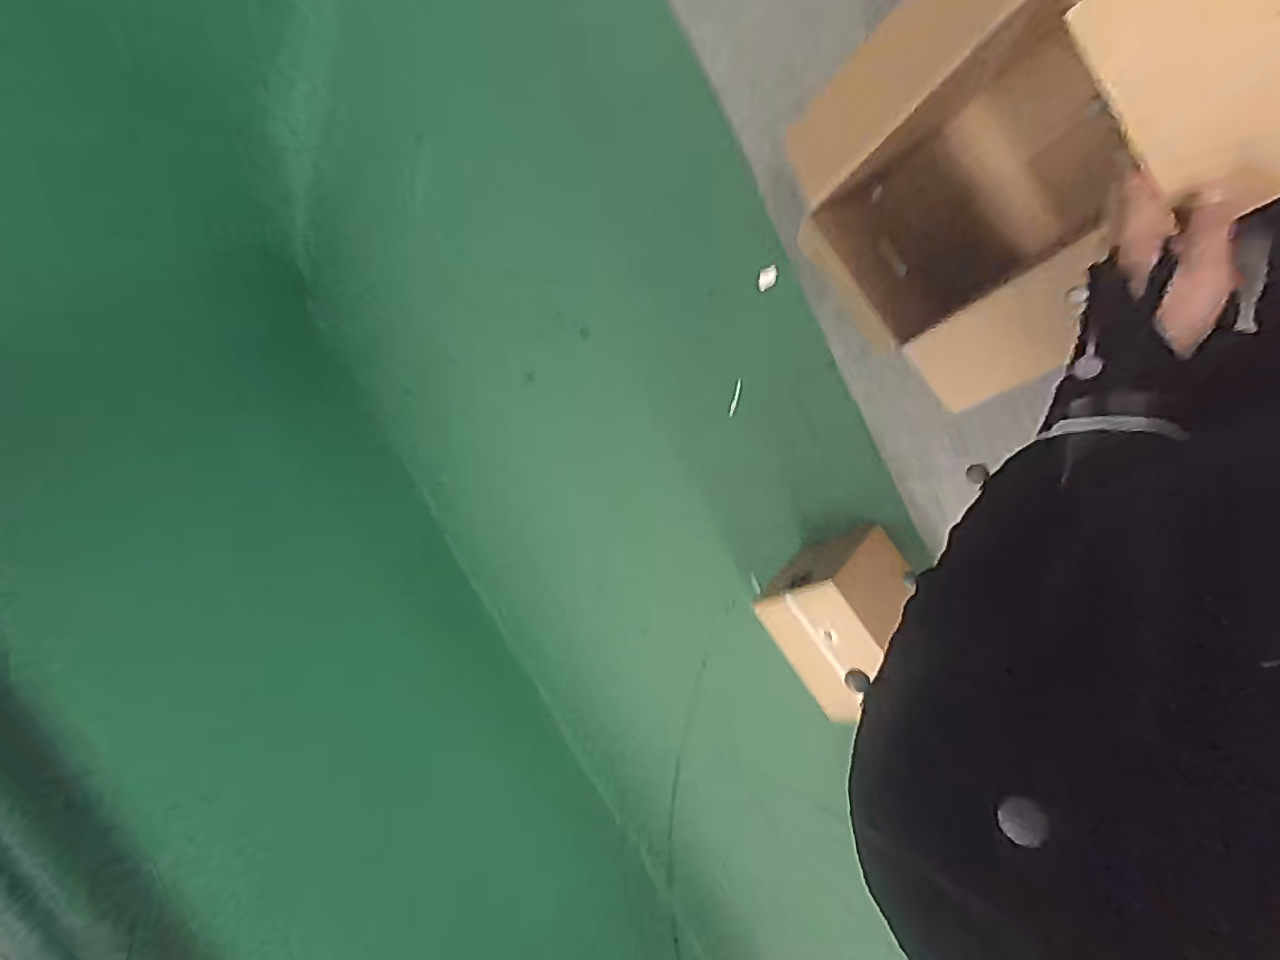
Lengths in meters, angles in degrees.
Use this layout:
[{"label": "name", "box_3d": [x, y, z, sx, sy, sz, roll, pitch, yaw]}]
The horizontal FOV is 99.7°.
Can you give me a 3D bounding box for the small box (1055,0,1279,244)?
[{"label": "small box", "box_3d": [0.397, -0.281, 0.334, 0.179, 0.176, 0.168, -26, 101, 47]}]
